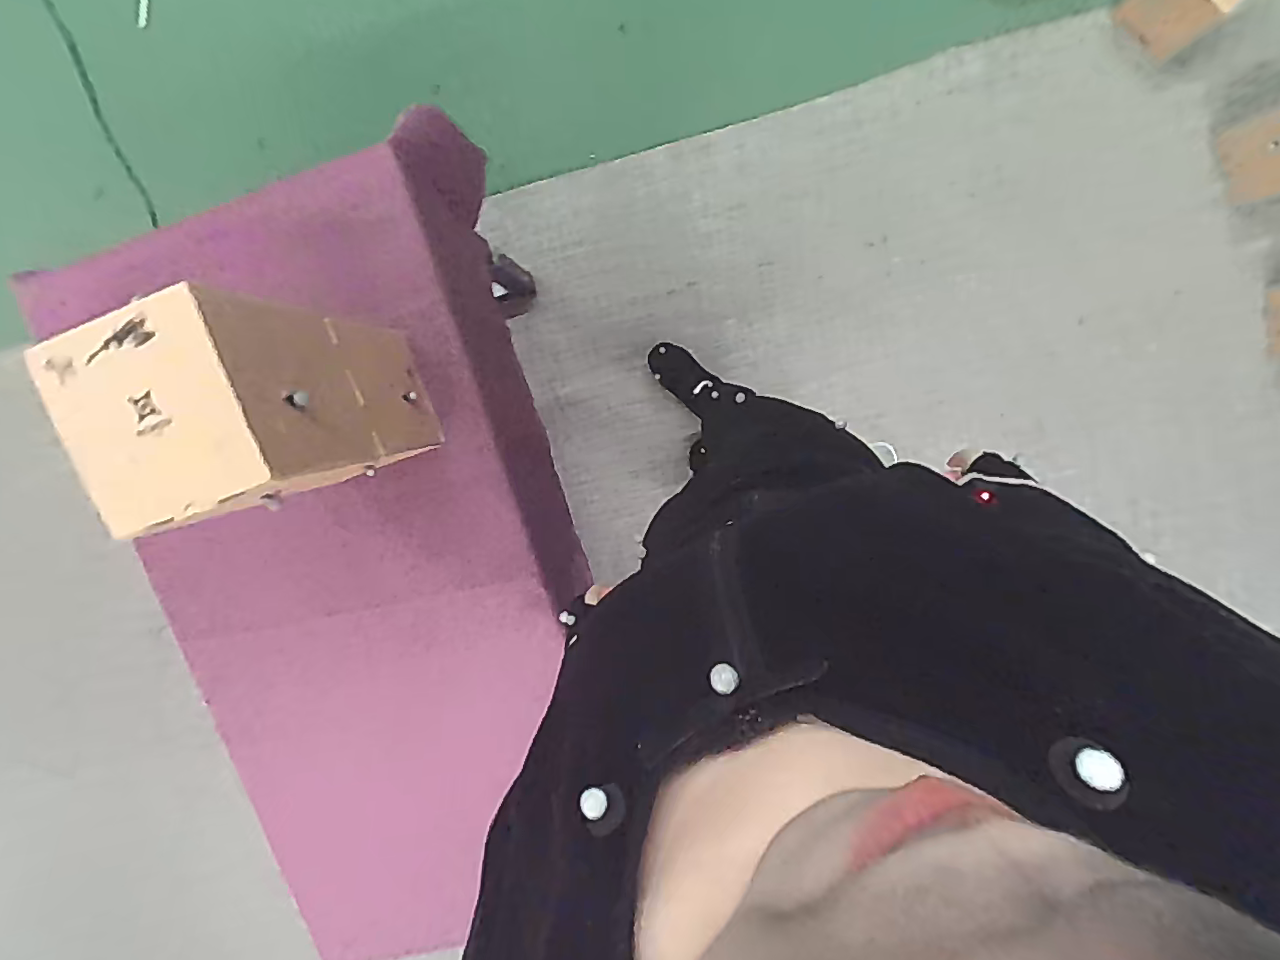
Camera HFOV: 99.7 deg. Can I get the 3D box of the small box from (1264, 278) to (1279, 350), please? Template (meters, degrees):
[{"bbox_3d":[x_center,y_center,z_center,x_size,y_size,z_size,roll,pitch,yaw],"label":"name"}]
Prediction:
[{"bbox_3d":[1.603,-0.399,1.237,0.168,0.176,0.179,-13,98,5],"label":"small box"}]

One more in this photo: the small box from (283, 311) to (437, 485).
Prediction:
[{"bbox_3d":[-0.397,-0.097,0.695,0.179,0.176,0.168,-19,97,6],"label":"small box"}]

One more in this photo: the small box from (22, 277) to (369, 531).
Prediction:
[{"bbox_3d":[-0.406,-0.073,0.532,0.168,0.176,0.179,-19,98,6],"label":"small box"}]
